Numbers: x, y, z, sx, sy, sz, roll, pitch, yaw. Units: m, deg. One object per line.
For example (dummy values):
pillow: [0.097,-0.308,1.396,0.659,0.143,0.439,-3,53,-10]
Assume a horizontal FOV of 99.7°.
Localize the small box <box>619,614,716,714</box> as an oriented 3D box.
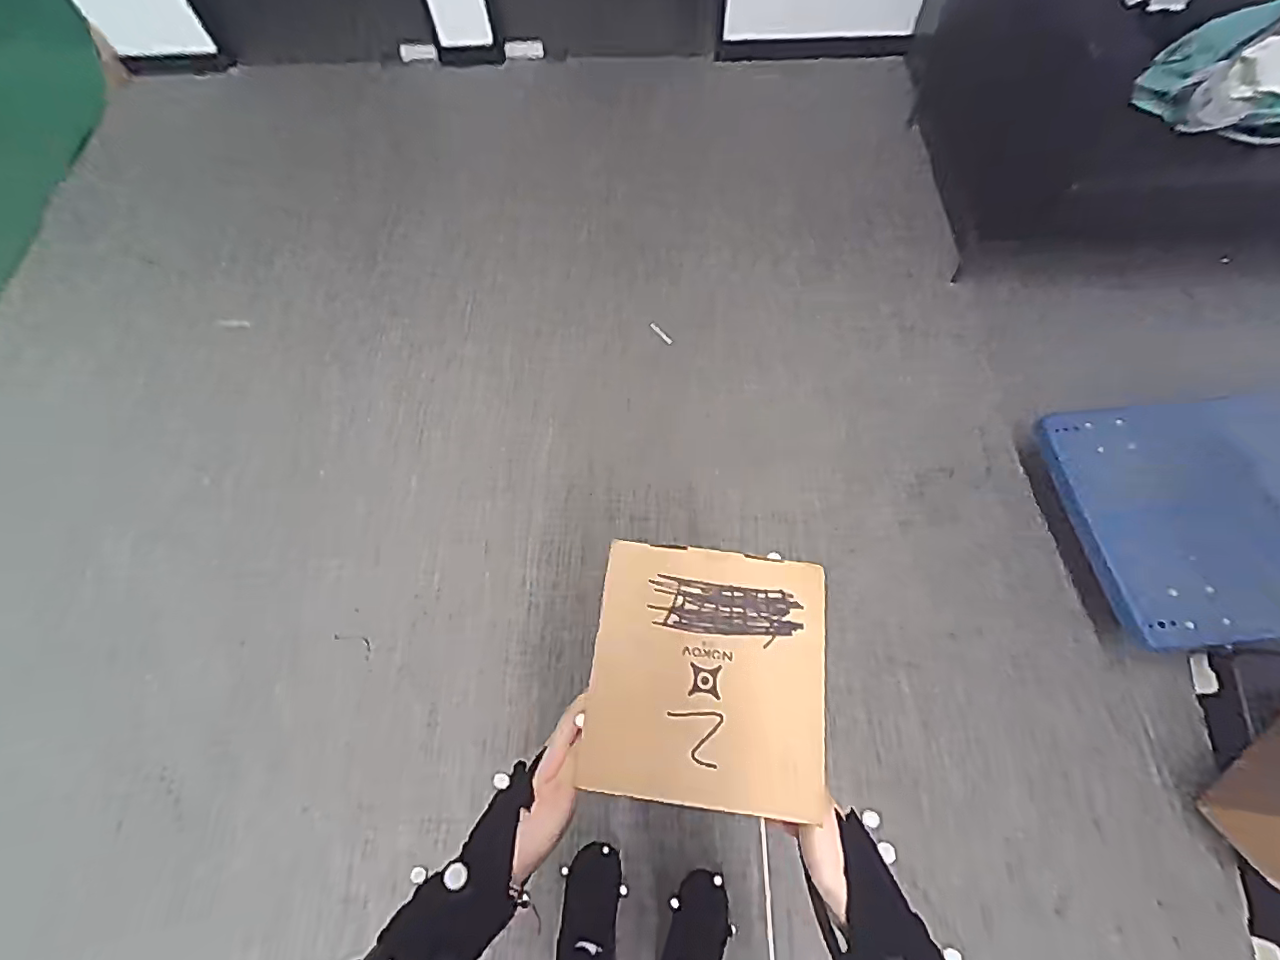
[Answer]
small box: [0.055,0.368,1.069,0.179,0.176,0.168,2,66,2]
